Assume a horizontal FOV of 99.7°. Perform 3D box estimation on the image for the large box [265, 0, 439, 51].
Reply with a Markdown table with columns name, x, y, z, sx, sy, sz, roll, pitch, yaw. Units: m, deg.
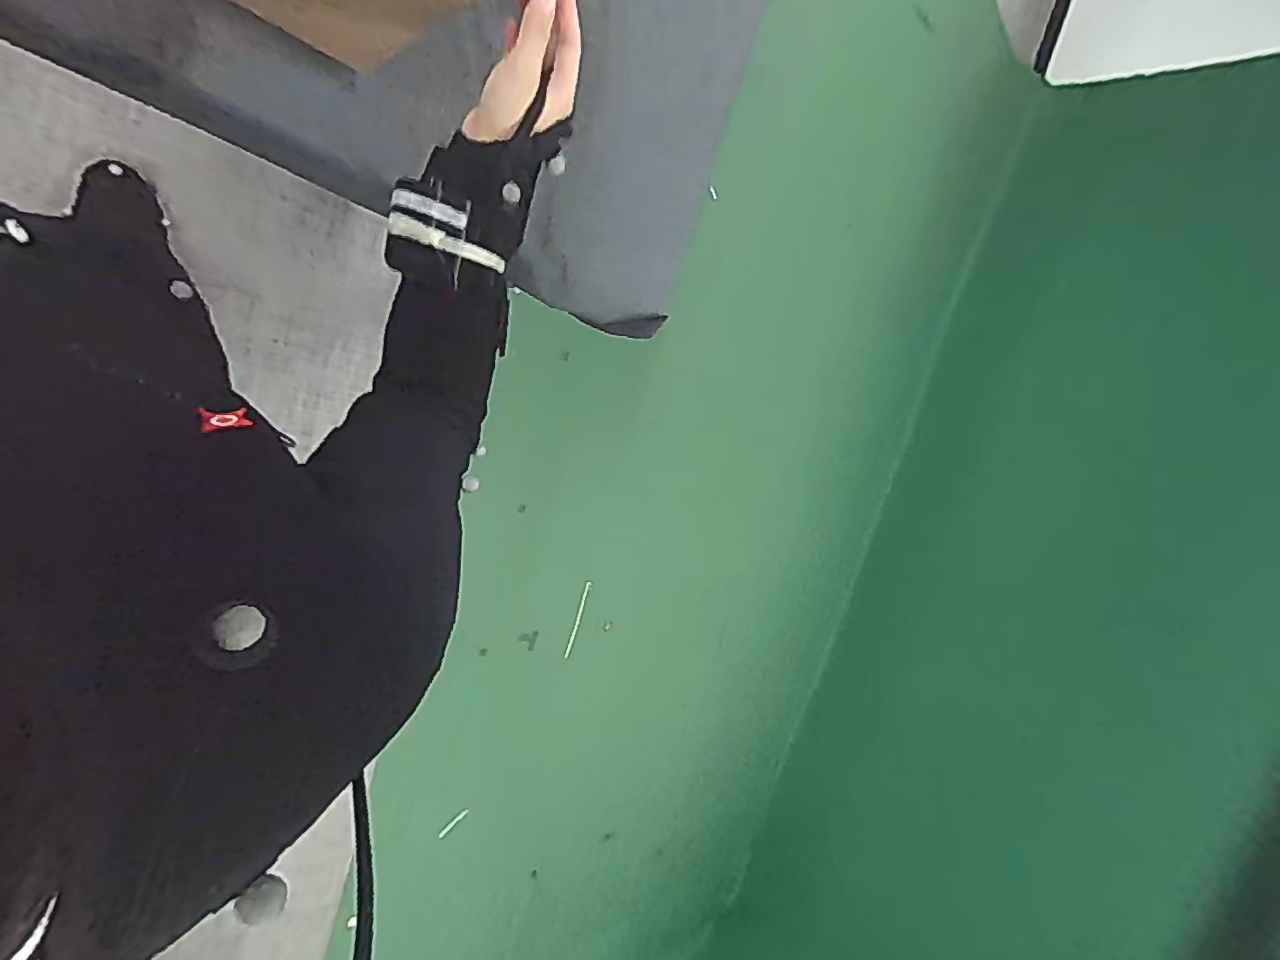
| name | x | y | z | sx | sy | sz | roll | pitch | yaw |
| --- | --- | --- | --- | --- | --- | --- | --- | --- | --- |
| large box | -0.273 | -0.525 | 0.266 | 0.408 | 0.320 | 0.320 | 3 | 106 | -47 |
